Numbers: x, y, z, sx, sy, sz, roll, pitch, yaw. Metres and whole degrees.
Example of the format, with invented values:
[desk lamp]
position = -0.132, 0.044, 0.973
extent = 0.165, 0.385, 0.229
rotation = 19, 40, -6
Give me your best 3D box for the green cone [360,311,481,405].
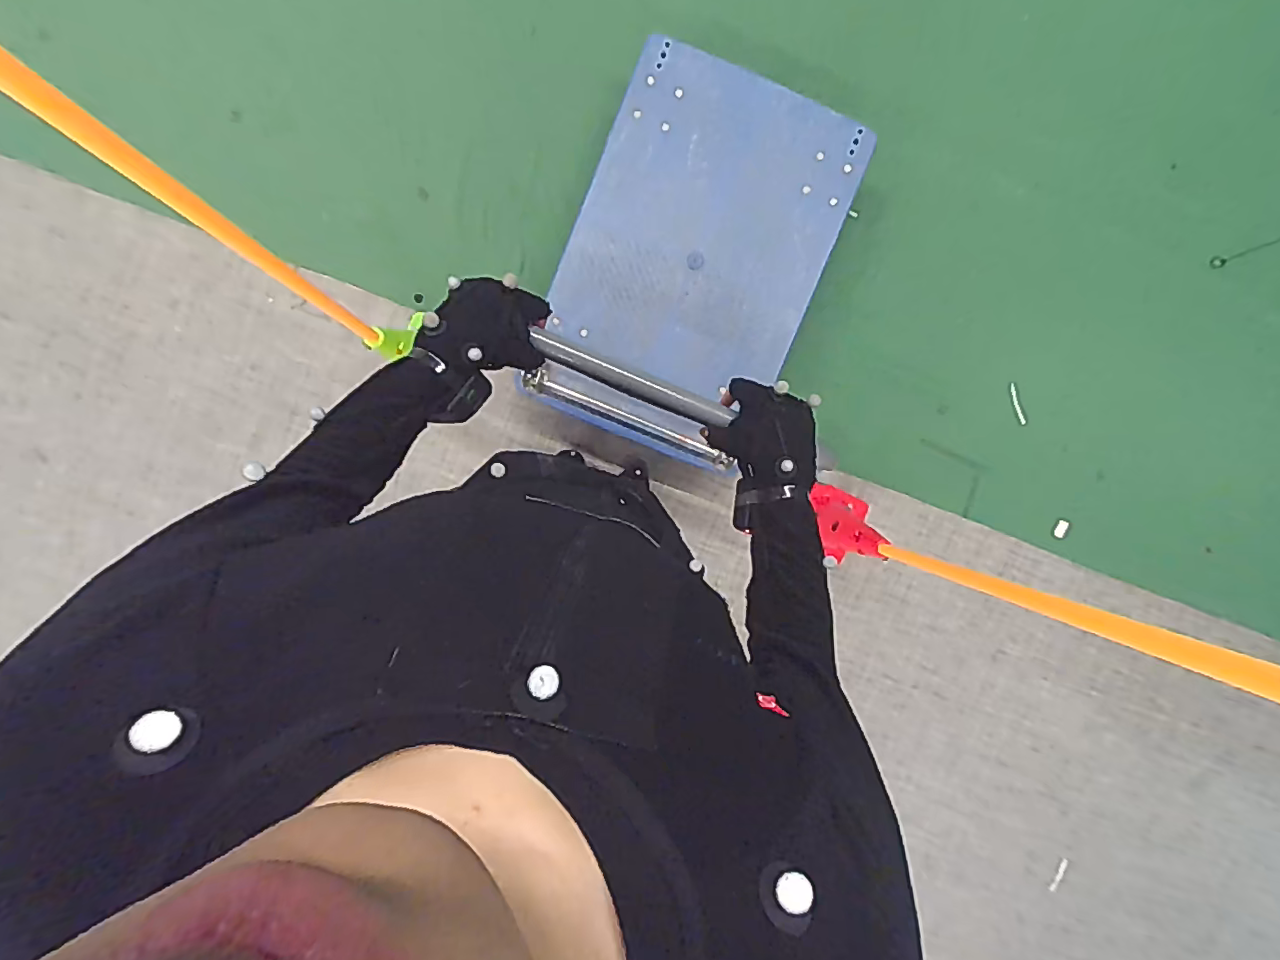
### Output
[green cone]
position = -0.540, -0.312, 1.261
extent = 0.202, 0.368, 0.200
rotation = 25, 93, -3
